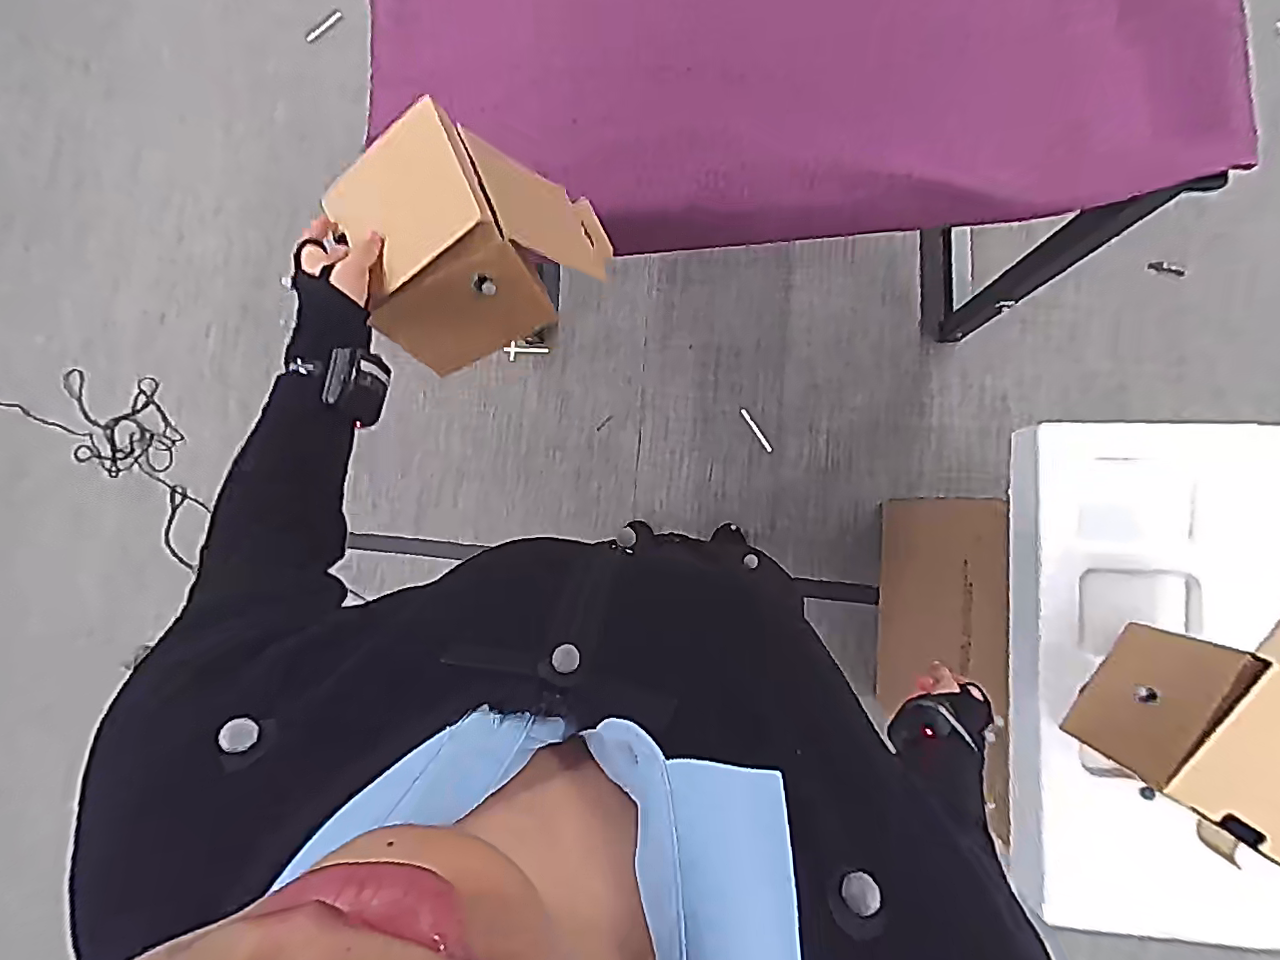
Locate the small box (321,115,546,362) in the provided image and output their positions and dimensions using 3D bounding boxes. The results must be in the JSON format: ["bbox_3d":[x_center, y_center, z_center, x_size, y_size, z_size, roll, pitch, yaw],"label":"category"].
[{"bbox_3d":[-0.228,-0.272,0.645,0.179,0.176,0.168,-26,75,4],"label":"small box"}]
